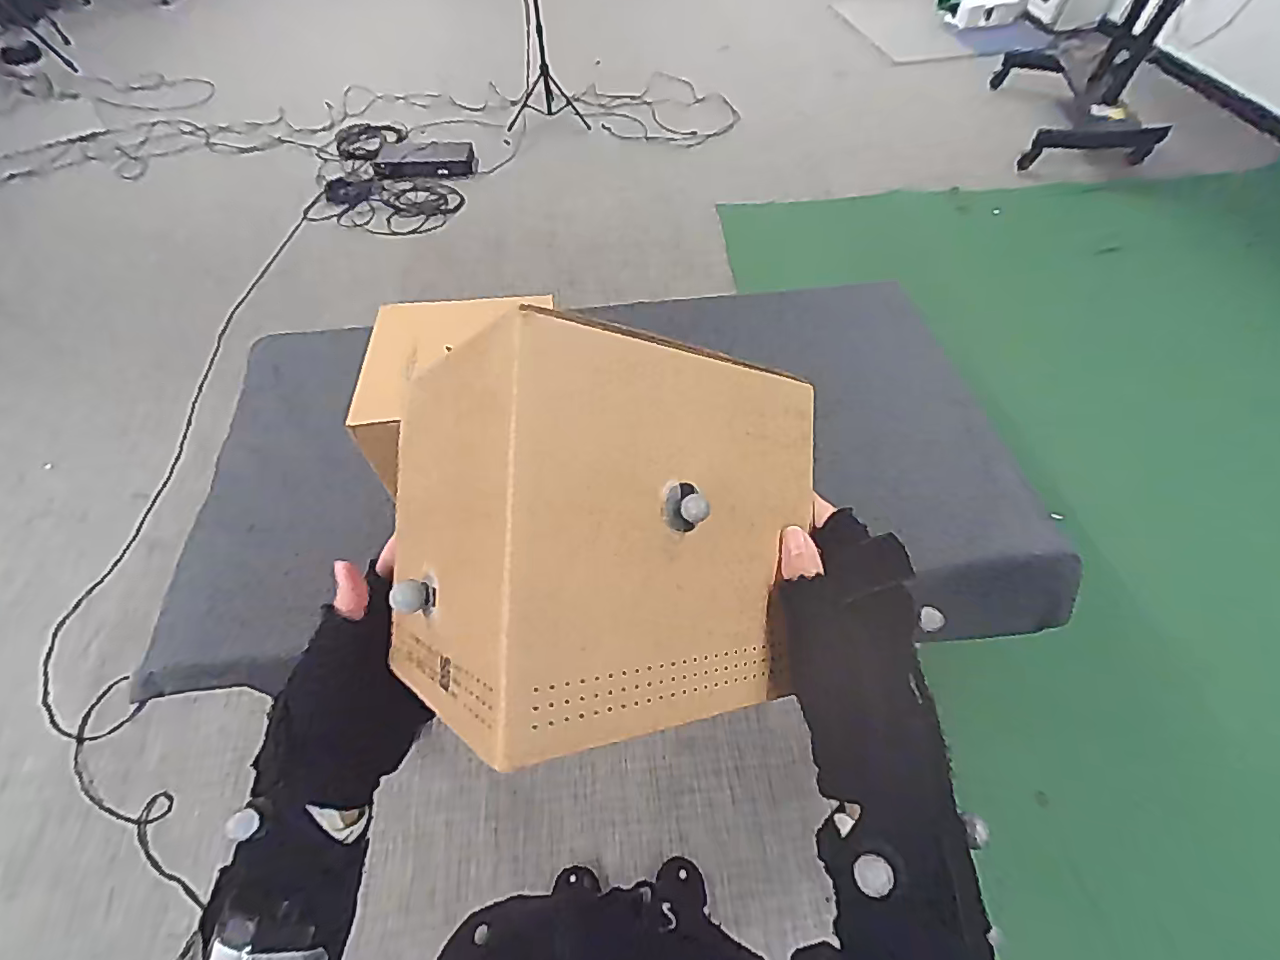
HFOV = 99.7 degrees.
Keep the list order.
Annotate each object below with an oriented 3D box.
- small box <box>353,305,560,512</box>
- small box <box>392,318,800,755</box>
[{"bbox_3d":[-0.164,-0.062,0.572,0.179,0.176,0.168,-5,53,-3],"label":"small box"},{"bbox_3d":[-0.028,0.029,0.312,0.179,0.168,0.176,4,84,-38],"label":"small box"}]
